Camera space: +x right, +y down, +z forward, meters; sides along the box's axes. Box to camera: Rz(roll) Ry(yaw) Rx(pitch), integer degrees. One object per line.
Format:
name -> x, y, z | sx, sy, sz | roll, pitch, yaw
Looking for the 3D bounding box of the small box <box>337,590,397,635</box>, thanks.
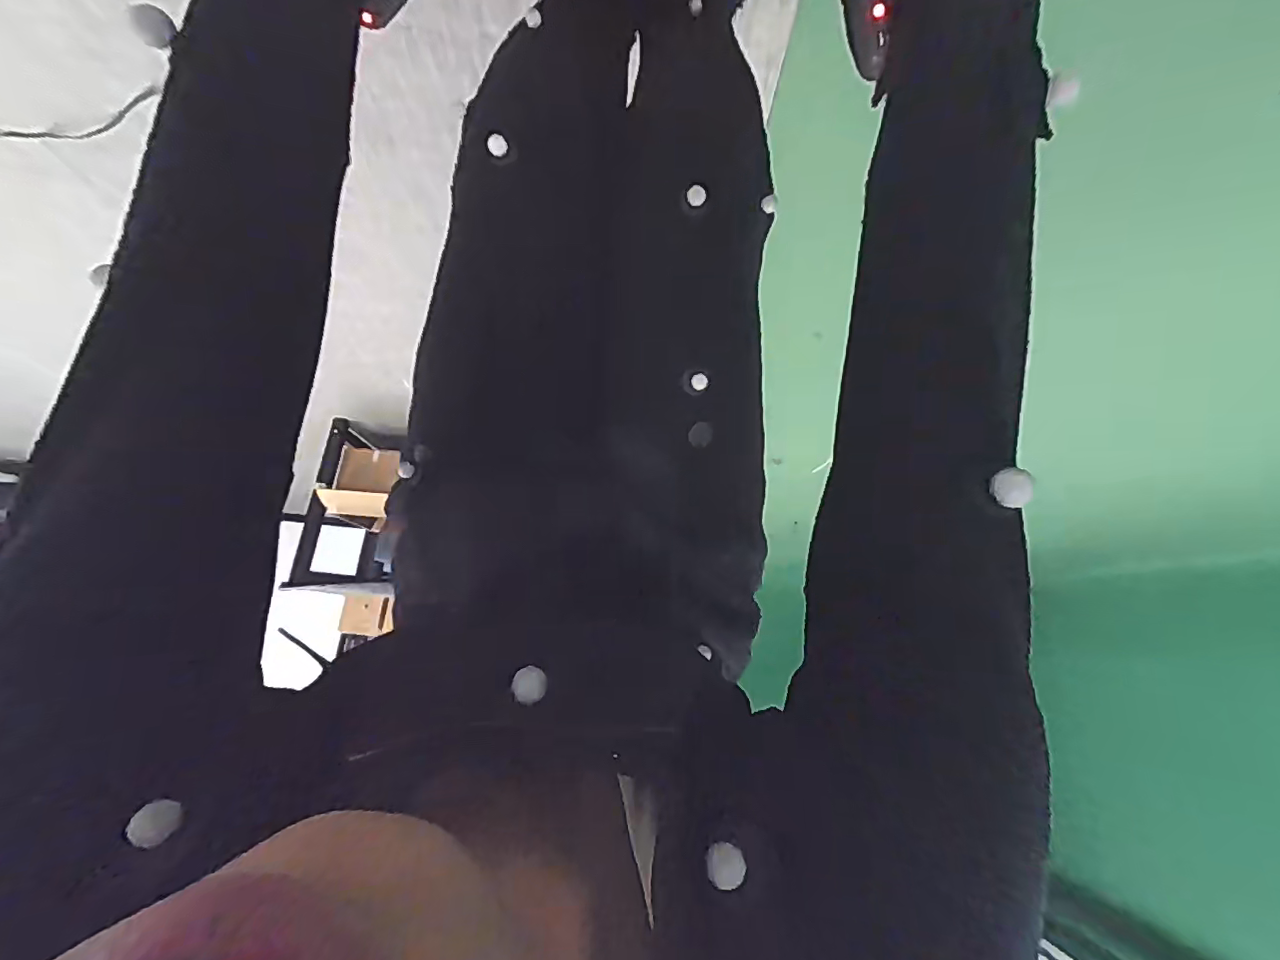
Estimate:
small box -> -1.183, 0.579, 2.360 | 0.168, 0.176, 0.179 | 6, 164, -1
